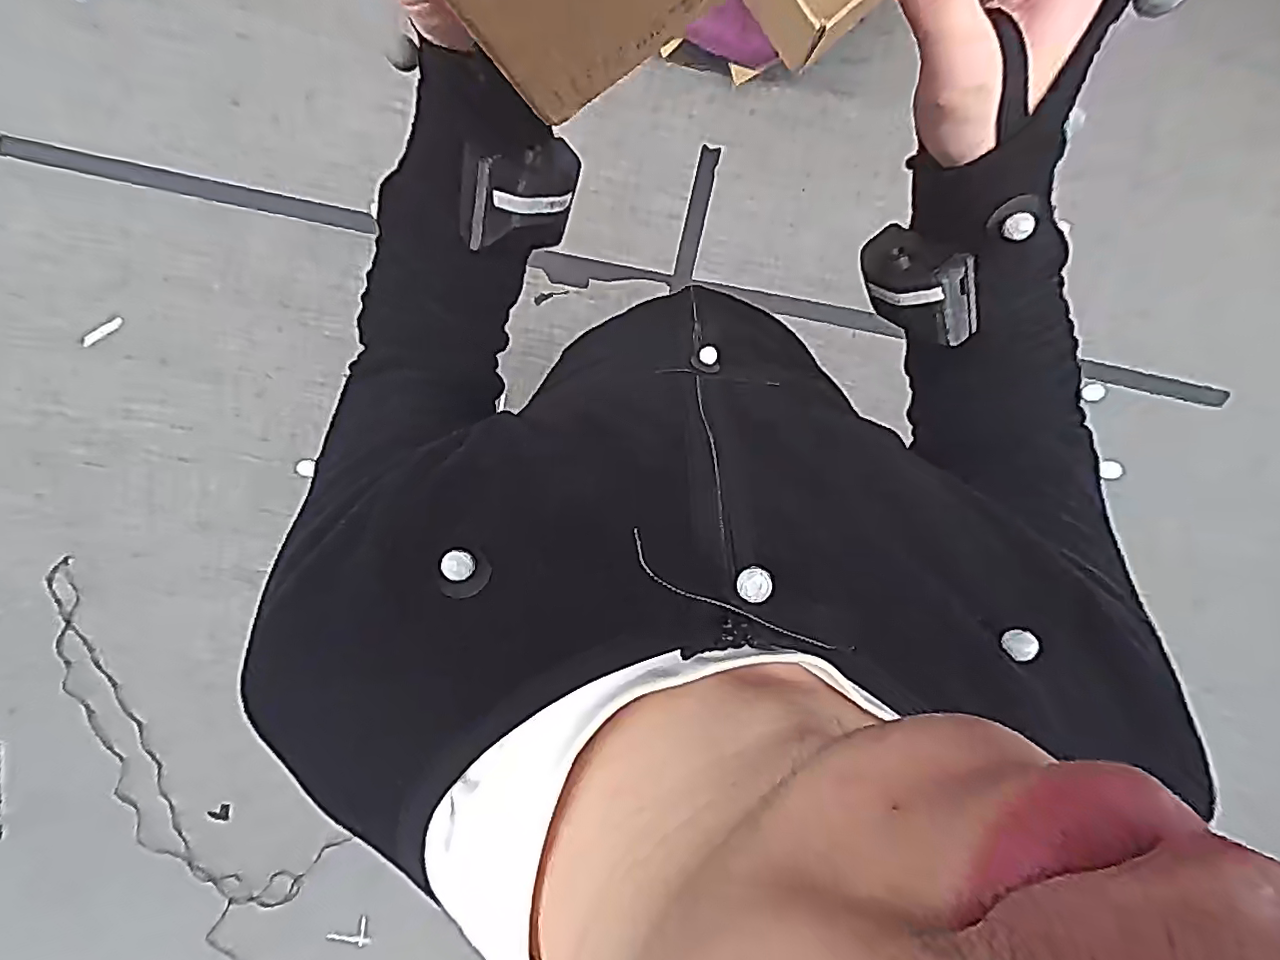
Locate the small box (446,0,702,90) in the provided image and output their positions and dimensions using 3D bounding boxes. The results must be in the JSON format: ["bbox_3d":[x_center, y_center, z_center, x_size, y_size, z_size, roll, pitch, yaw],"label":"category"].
[{"bbox_3d":[-0.015,-0.222,0.111,0.168,0.176,0.179,-30,108,11],"label":"small box"}]
